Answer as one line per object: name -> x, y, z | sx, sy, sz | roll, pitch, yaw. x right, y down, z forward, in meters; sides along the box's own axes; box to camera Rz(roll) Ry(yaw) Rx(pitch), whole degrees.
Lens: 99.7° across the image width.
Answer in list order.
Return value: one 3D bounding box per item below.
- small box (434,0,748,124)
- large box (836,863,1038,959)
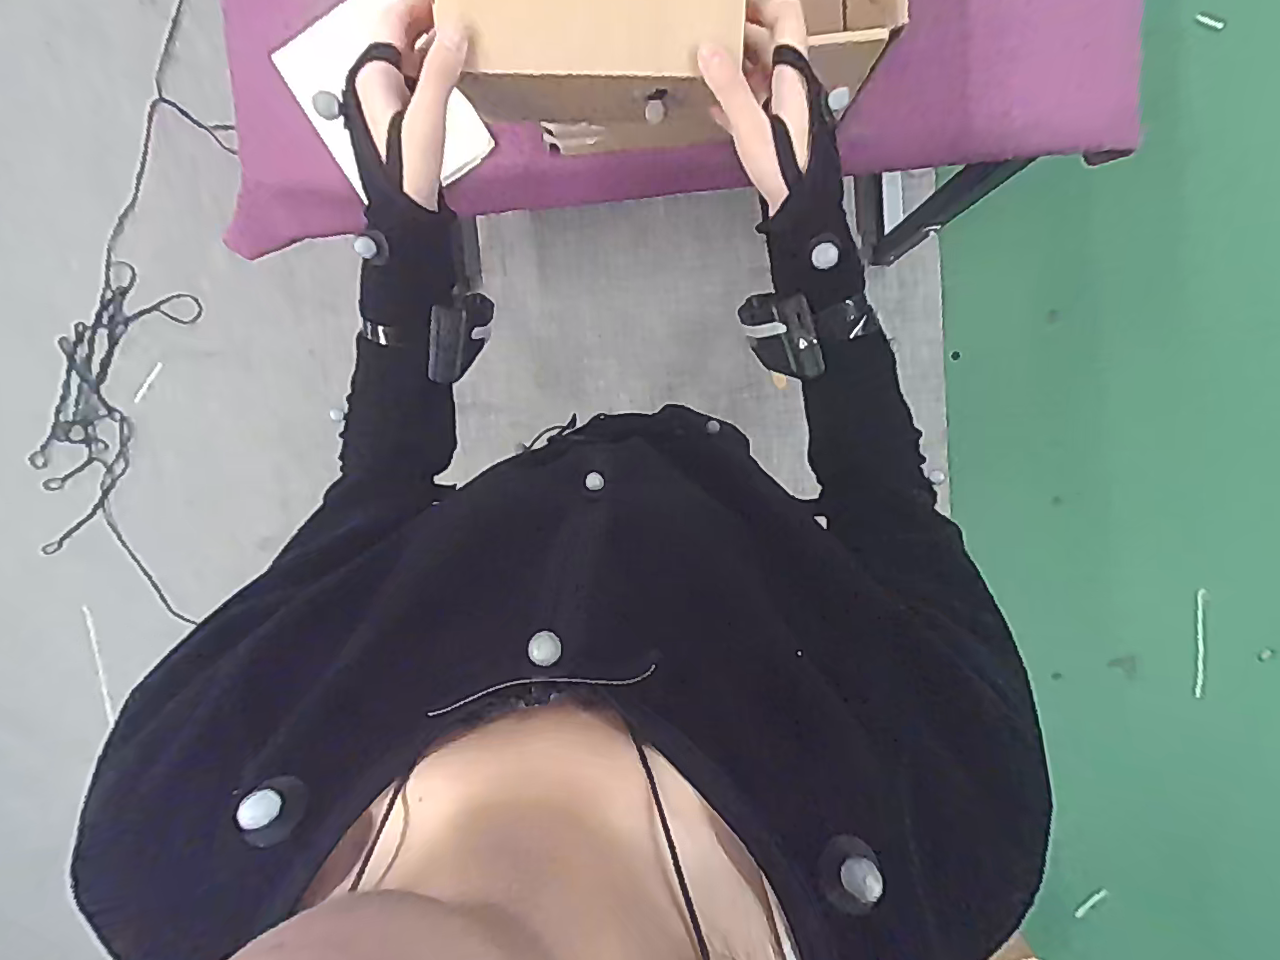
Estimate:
small box -> -0.033, -0.341, 0.347 | 0.179, 0.176, 0.168 | -2, 115, -5
large box -> 0.802, 1.321, 1.432 | 0.408, 0.320, 0.320 | -20, 95, 2
